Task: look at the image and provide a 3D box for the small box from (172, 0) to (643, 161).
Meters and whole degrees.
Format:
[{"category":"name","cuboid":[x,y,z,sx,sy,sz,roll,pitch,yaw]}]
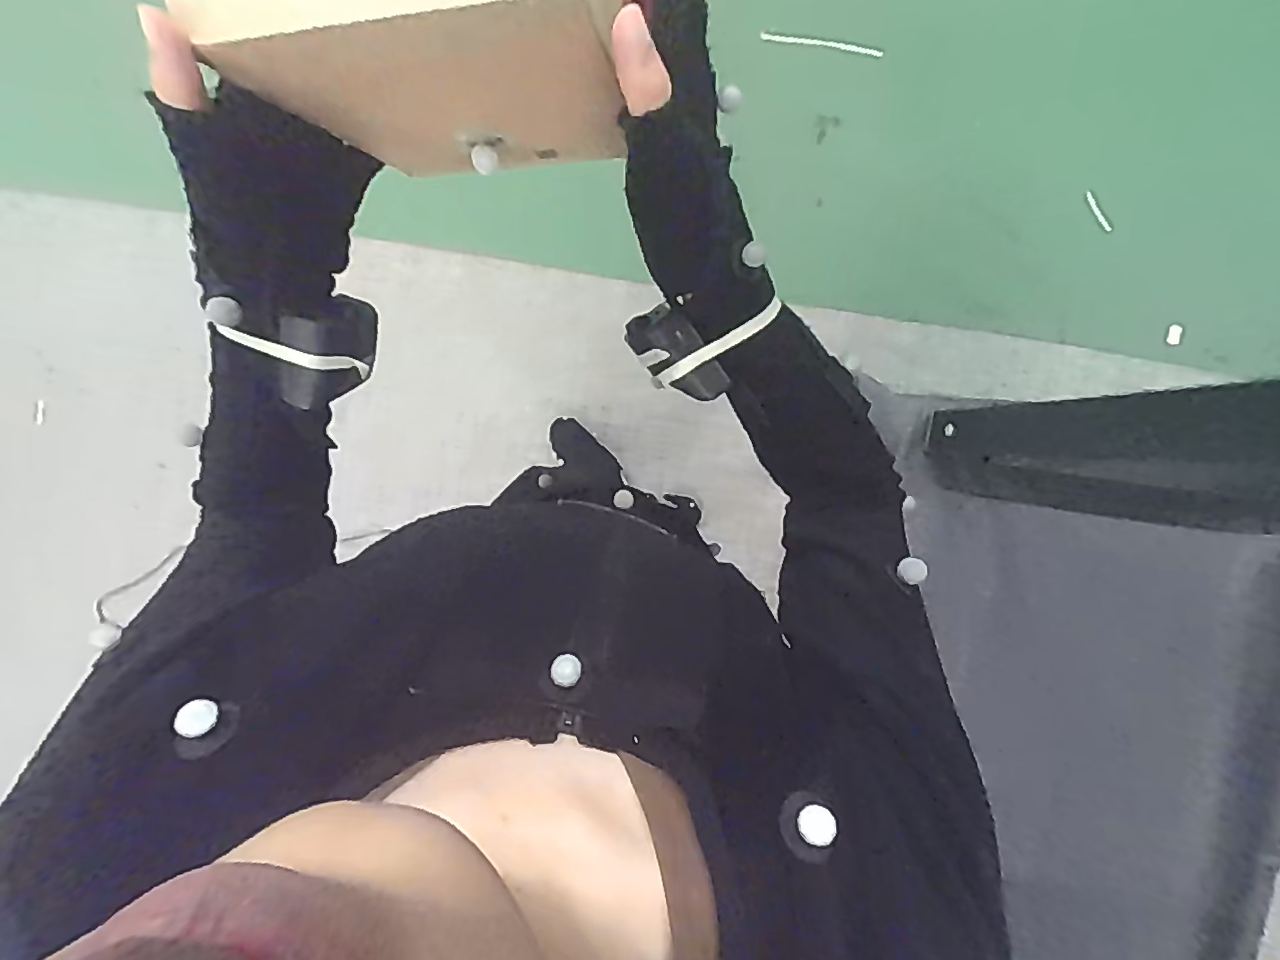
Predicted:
[{"category":"small box","cuboid":[-0.092,-0.280,0.256,0.168,0.176,0.179,-1,104,9]}]
